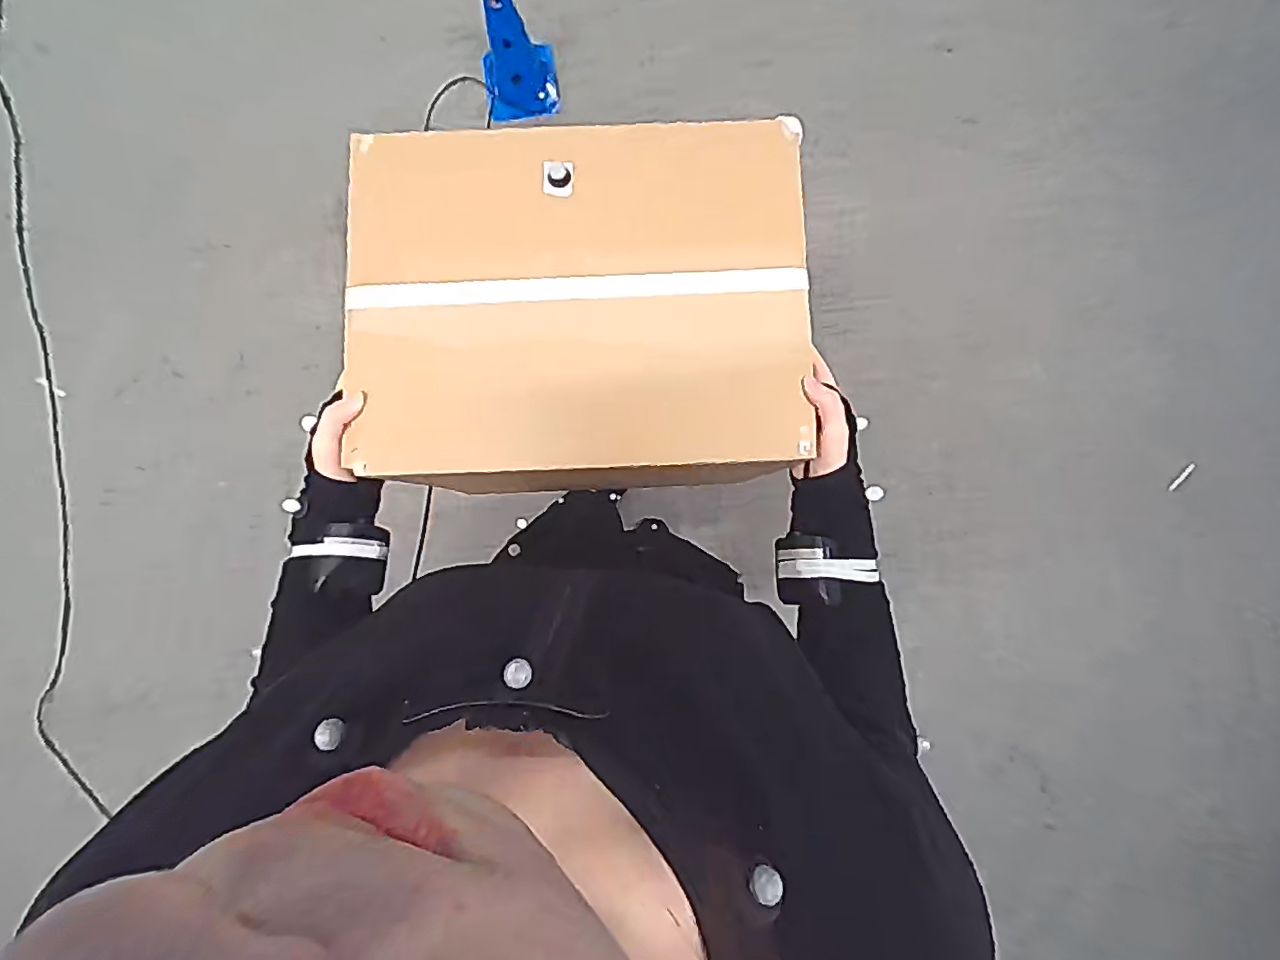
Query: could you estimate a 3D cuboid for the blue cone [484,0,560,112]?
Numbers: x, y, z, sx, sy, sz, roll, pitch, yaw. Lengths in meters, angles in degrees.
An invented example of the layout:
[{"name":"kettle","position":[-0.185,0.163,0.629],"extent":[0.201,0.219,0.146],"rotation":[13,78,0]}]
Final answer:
[{"name":"blue cone","position":[-0.323,-1.122,1.325],"extent":[0.193,0.380,0.192],"rotation":[-10,90,-1]}]
